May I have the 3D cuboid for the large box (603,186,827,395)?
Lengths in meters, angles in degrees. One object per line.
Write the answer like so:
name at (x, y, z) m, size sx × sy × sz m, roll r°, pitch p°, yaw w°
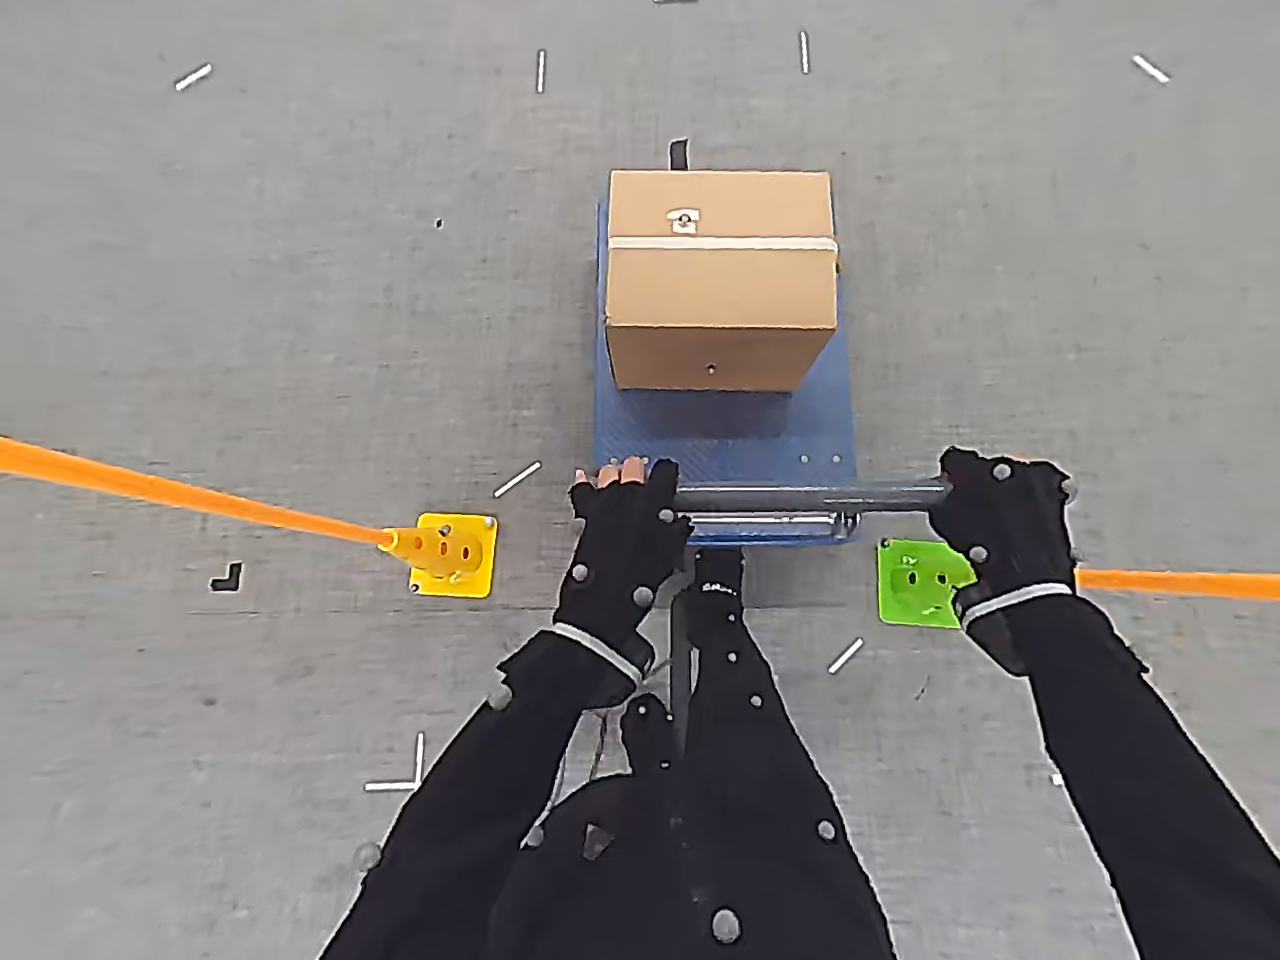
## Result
large box at (0.141, -0.370, 1.131) m, size 0.408 × 0.320 × 0.320 m, roll 1°, pitch 79°, yaw 2°

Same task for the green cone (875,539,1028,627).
green cone at (0.667, 0.210, 1.134) m, size 0.202 × 0.368 × 0.200 m, roll 3°, pitch 78°, yaw 1°
